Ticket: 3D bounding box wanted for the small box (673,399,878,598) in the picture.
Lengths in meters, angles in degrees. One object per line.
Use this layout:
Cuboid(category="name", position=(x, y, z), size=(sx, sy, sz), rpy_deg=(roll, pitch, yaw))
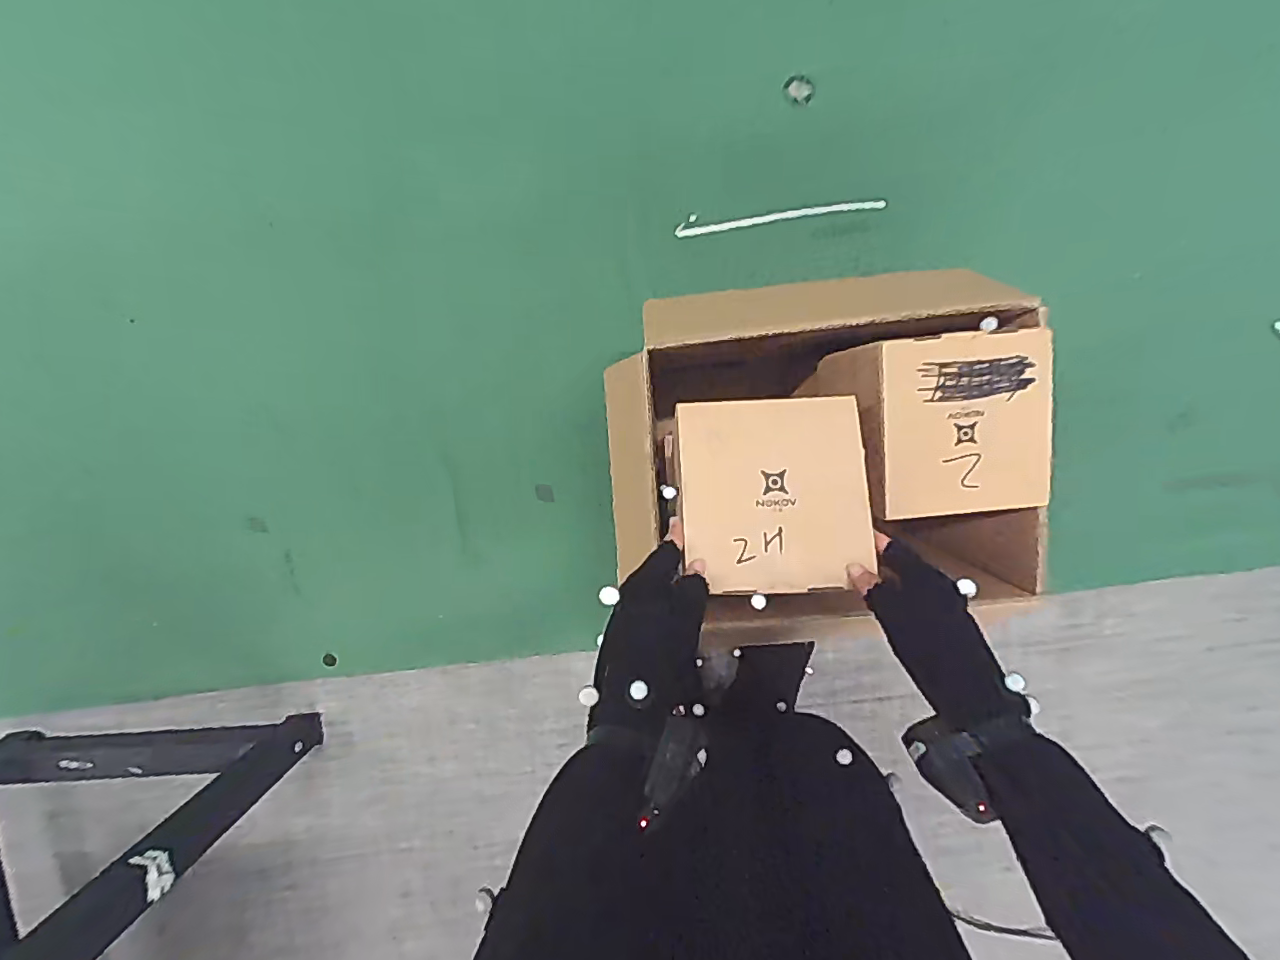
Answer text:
Cuboid(category="small box", position=(0.121, 0.029, 0.555), size=(0.168, 0.176, 0.179), rpy_deg=(-2, 78, 2))
